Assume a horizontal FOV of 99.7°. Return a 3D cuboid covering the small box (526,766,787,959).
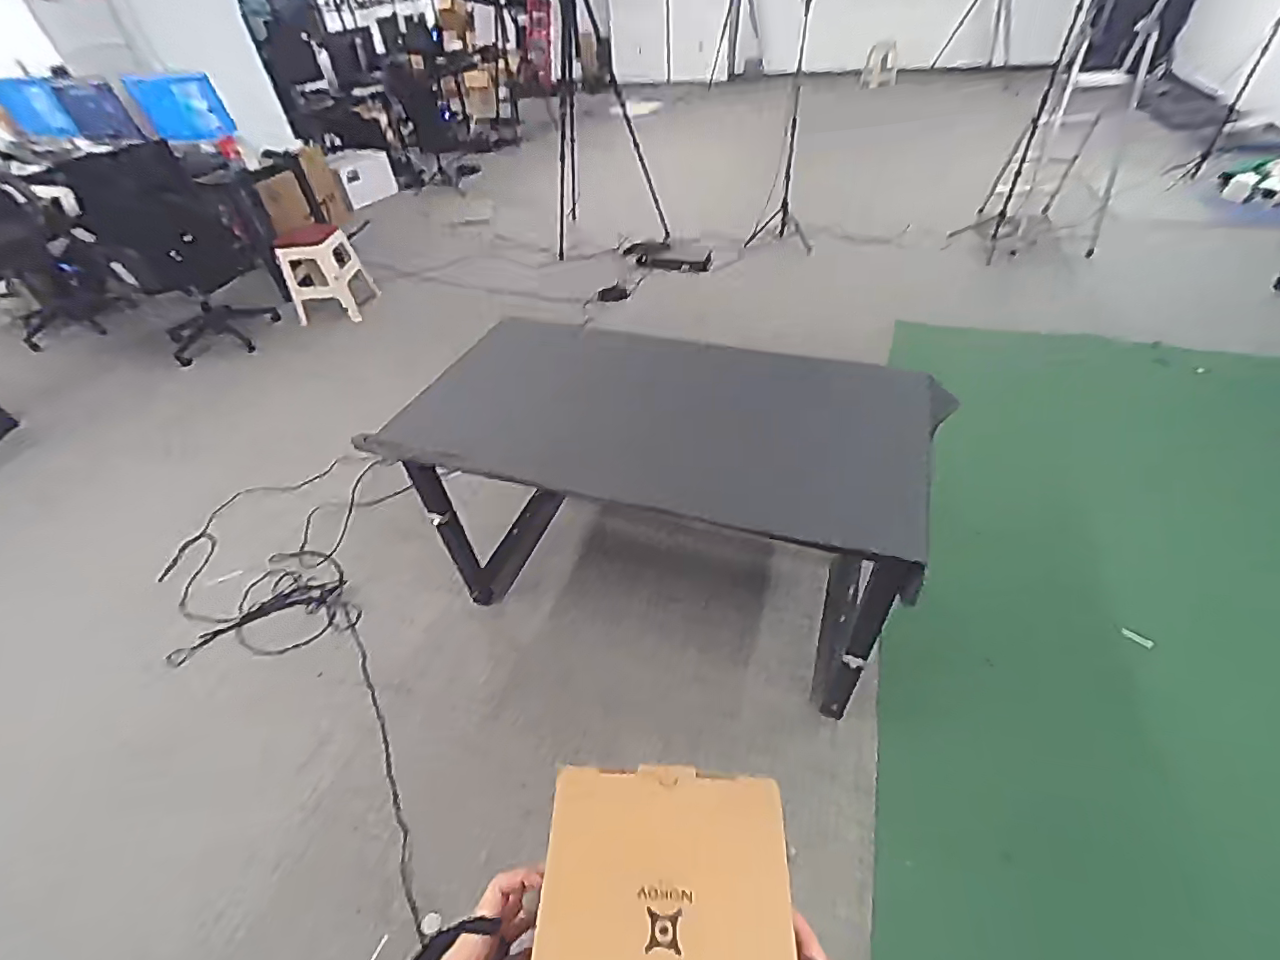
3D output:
[{"bbox_3d":[0.014,0.338,0.406,0.168,0.176,0.179,1,45,2],"label":"small box"}]
